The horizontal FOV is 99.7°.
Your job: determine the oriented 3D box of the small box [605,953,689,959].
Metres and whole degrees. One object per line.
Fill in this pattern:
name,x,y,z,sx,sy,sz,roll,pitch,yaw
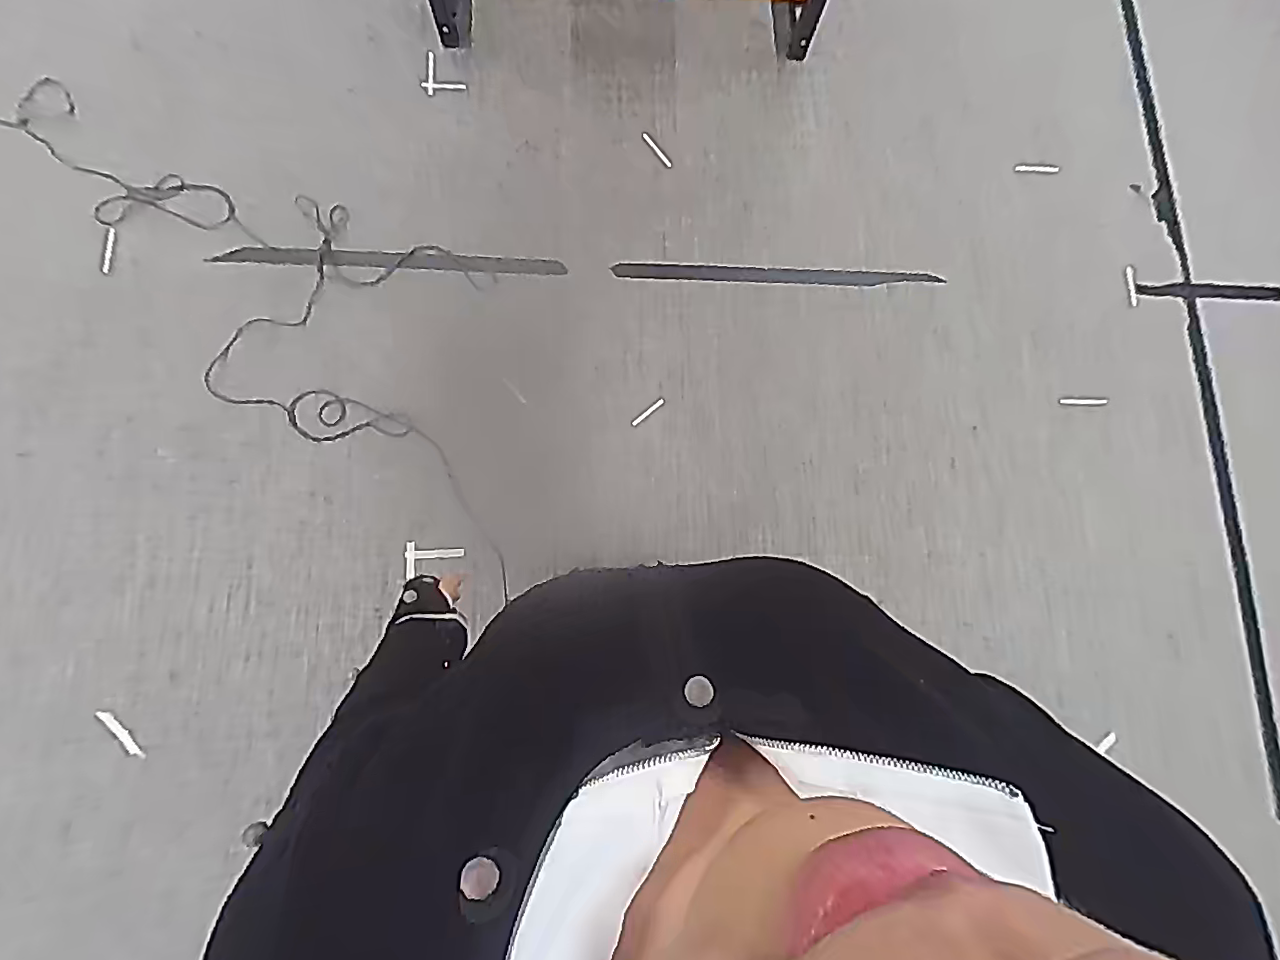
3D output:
small box,0.018,0.884,0.831,0.168,0.176,0.179,1,79,-6
